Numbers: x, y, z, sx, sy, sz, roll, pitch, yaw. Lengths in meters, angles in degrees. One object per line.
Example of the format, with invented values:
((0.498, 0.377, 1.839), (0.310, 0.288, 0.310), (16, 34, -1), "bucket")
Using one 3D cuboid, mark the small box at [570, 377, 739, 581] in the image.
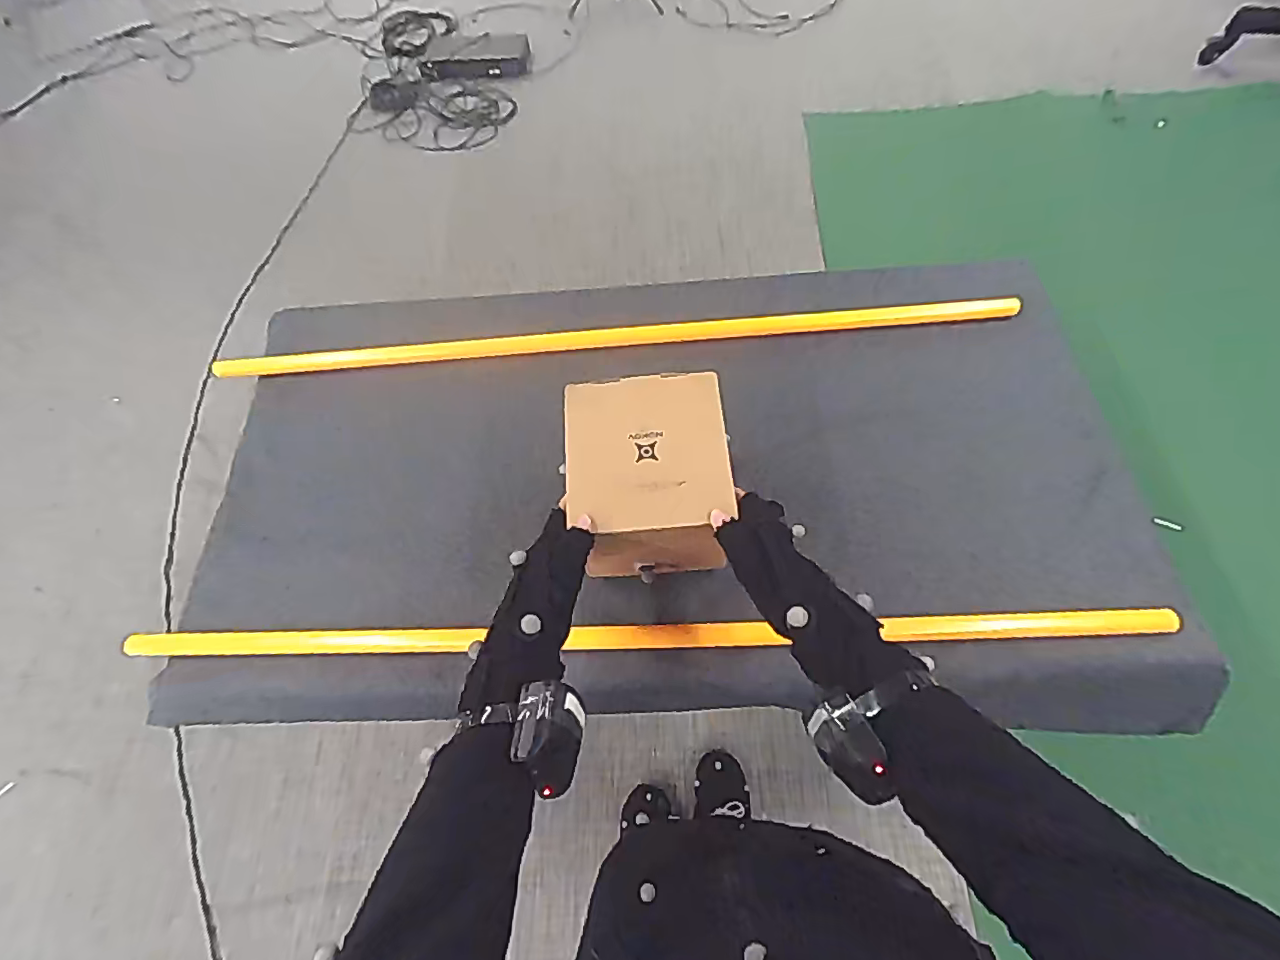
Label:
((0.014, 0.006, 0.625), (0.168, 0.176, 0.179), (-6, 66, 2), "small box")
